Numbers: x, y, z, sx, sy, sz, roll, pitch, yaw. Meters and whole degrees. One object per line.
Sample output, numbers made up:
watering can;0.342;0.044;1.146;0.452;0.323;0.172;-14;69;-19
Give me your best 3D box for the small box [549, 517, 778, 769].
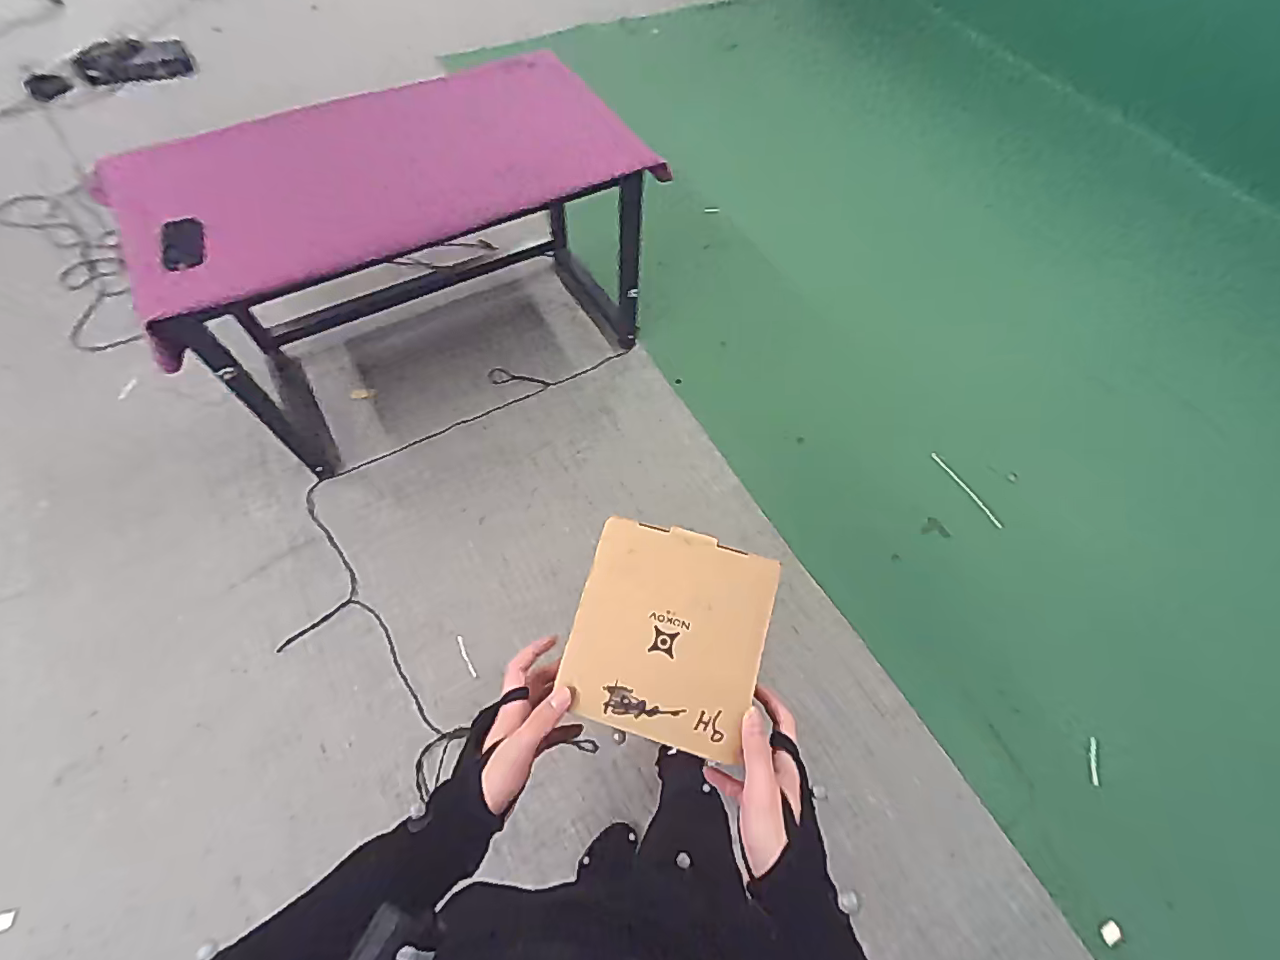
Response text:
small box;0.027;0.157;0.544;0.168;0.176;0.179;14;74;8
